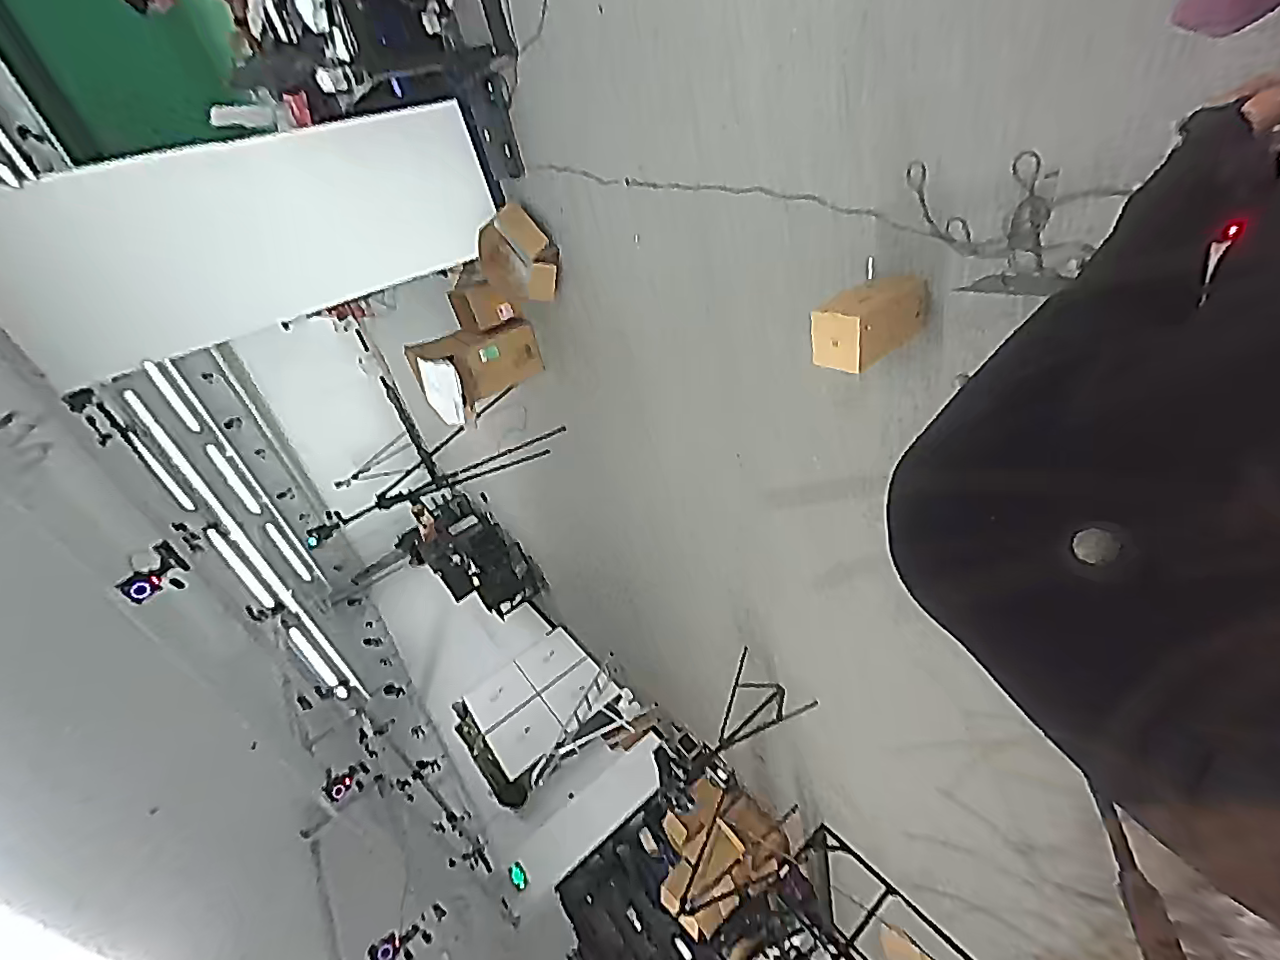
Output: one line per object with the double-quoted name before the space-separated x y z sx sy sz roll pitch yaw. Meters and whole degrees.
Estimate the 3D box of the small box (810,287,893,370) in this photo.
"small box" 0.632 -0.456 1.614 0.168 0.176 0.179 30 144 46

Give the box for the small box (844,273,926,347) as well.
"small box" 0.757 -0.535 1.682 0.179 0.176 0.168 28 143 47
